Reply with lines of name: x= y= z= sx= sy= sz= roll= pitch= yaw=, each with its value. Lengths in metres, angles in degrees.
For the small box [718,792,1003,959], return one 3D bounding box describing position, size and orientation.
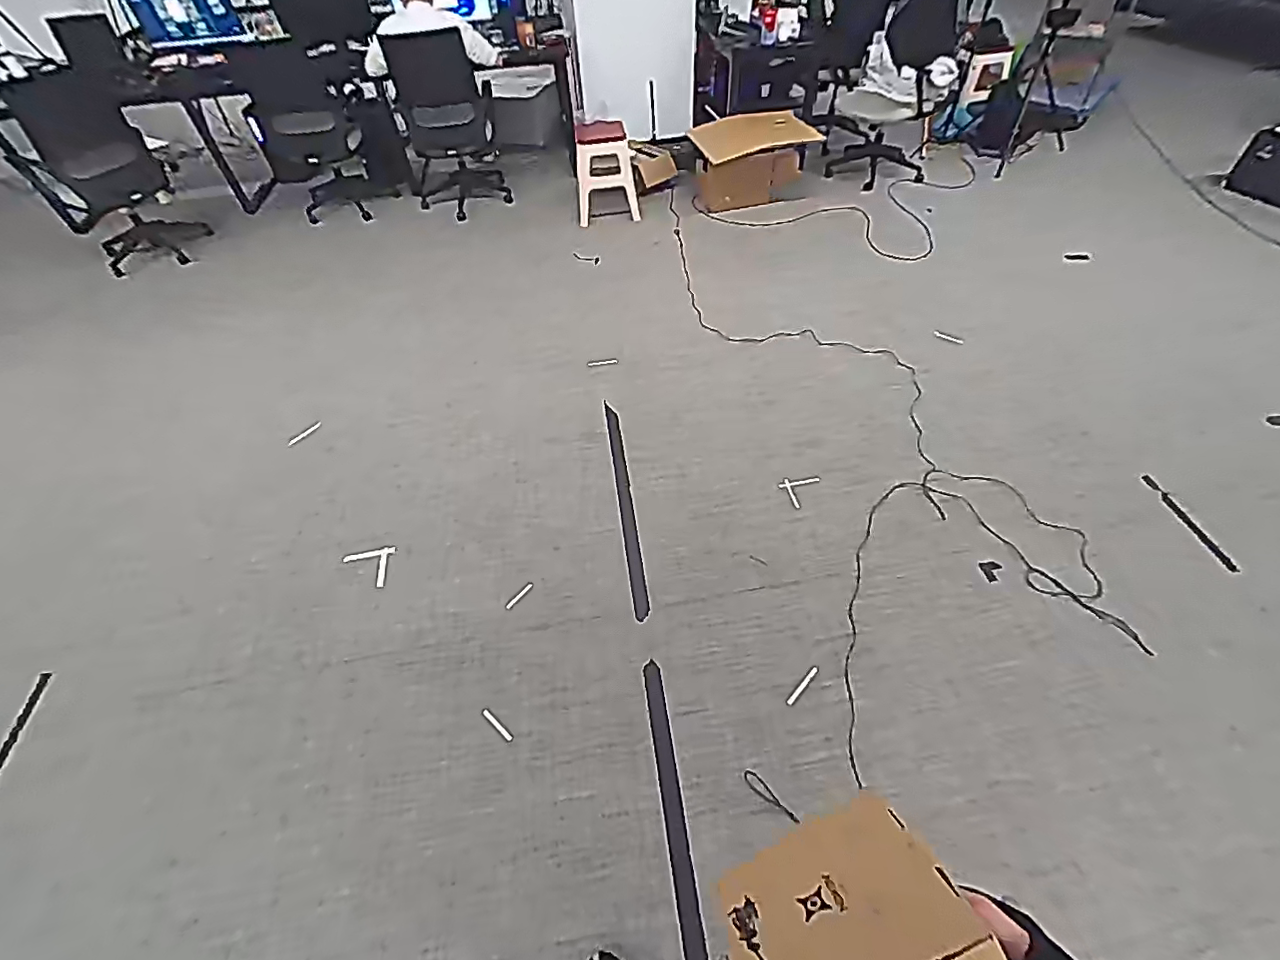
small box: x=0.190 y=0.411 z=0.440 sx=0.179 sy=0.168 sz=0.176 roll=-28 pitch=91 yaw=-2
